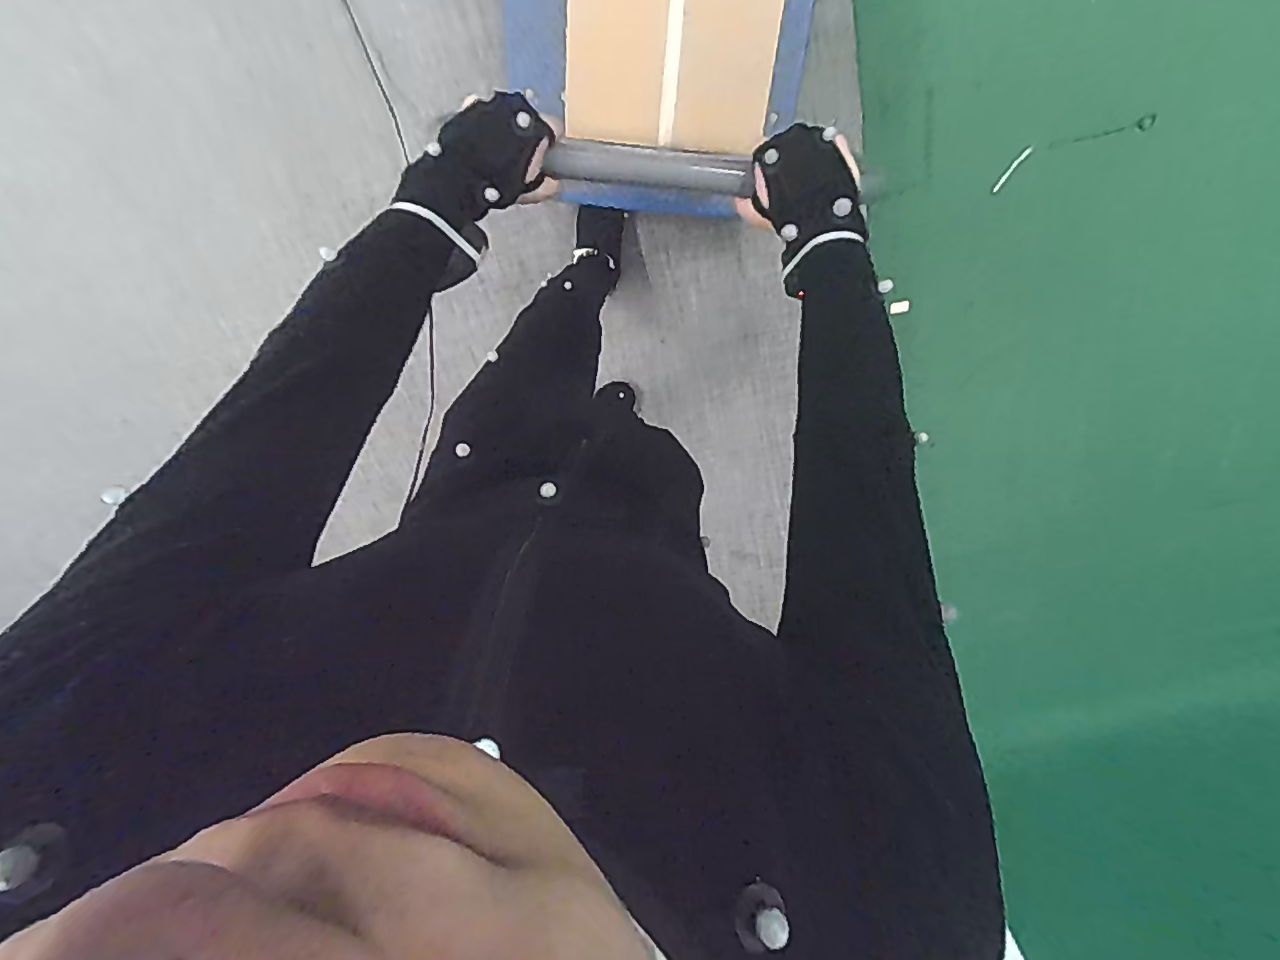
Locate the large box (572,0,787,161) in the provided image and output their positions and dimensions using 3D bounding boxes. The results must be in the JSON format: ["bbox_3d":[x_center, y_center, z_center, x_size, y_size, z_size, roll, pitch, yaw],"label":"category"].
[{"bbox_3d":[0.062,-0.780,0.901,0.320,0.320,0.408,4,117,-2],"label":"large box"}]
